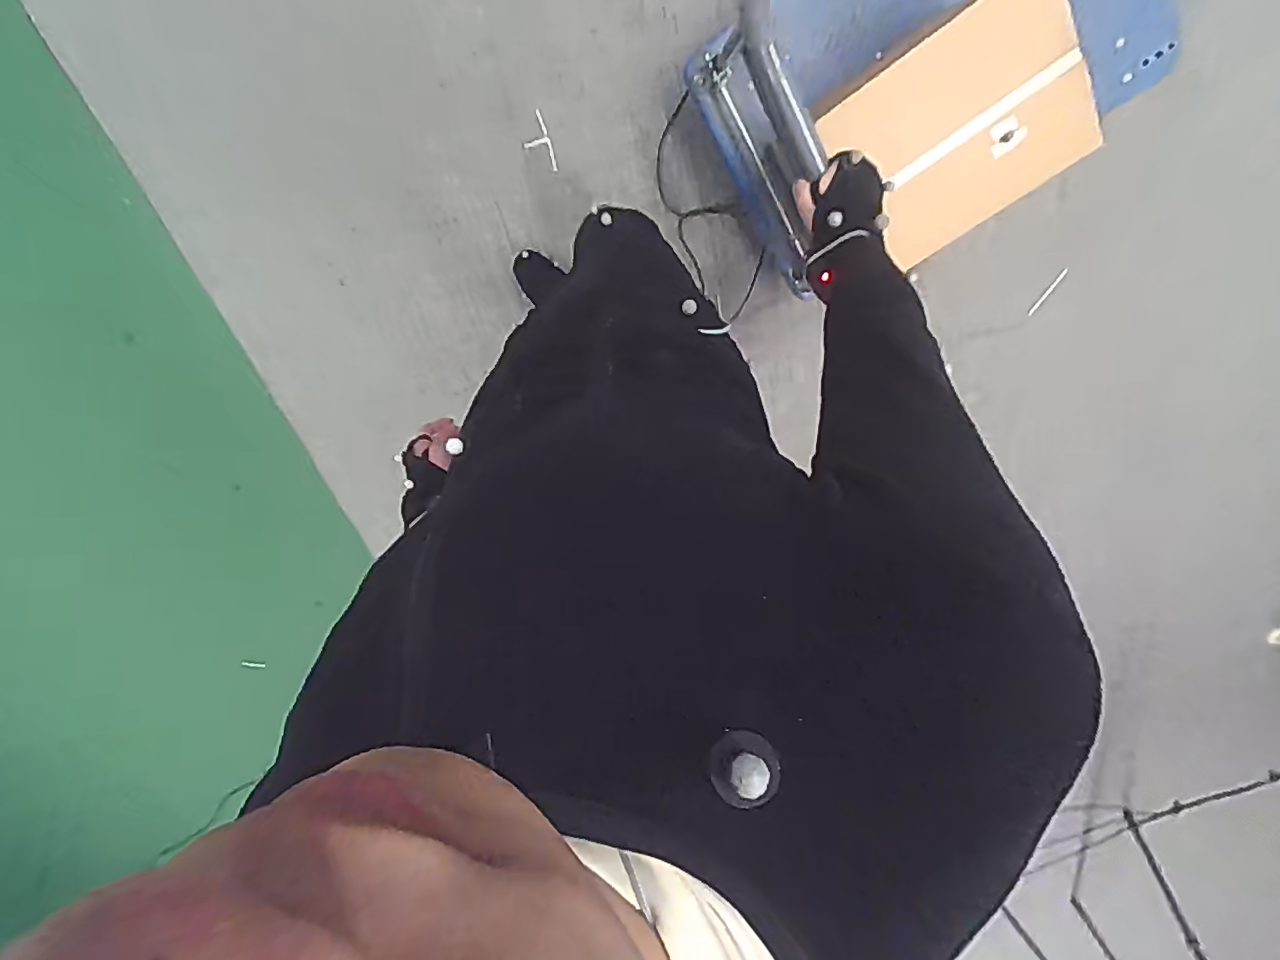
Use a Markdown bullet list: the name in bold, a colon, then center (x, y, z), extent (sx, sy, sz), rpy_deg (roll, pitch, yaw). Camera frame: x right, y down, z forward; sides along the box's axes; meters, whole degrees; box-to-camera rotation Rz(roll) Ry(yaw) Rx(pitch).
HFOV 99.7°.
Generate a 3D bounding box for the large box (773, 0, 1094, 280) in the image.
- **large box**: center (0.533, -0.657, 1.054), extent (0.408, 0.320, 0.320), rpy_deg (-31, 115, 14)
